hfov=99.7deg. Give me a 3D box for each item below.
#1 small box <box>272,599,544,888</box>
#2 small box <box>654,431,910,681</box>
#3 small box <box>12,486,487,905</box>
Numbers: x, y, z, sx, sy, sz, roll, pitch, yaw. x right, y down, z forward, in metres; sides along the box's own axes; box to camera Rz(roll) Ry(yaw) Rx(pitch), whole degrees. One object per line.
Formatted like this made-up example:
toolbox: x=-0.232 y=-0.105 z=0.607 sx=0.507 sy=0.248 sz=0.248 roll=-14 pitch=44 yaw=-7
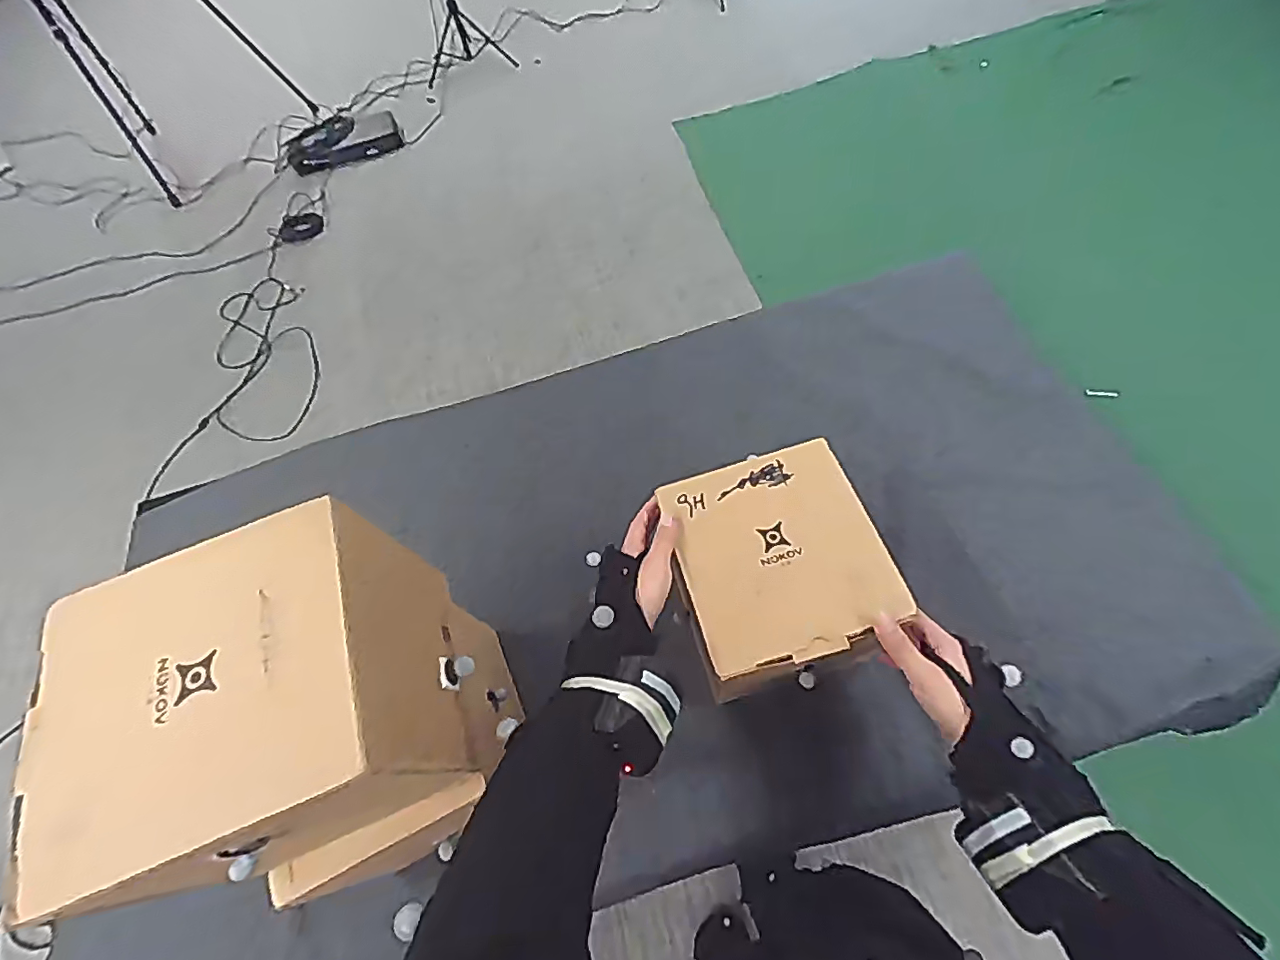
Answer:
small box: x=-0.208 y=0.225 z=0.497 sx=0.168 sy=0.176 sz=0.179 roll=-26 pitch=63 yaw=-6
small box: x=0.122 y=0.086 z=0.527 sx=0.168 sy=0.176 sz=0.179 roll=-17 pitch=63 yaw=-2
small box: x=-0.228 y=0.136 z=0.361 sx=0.179 sy=0.176 sz=0.168 roll=-22 pitch=63 yaw=-5
